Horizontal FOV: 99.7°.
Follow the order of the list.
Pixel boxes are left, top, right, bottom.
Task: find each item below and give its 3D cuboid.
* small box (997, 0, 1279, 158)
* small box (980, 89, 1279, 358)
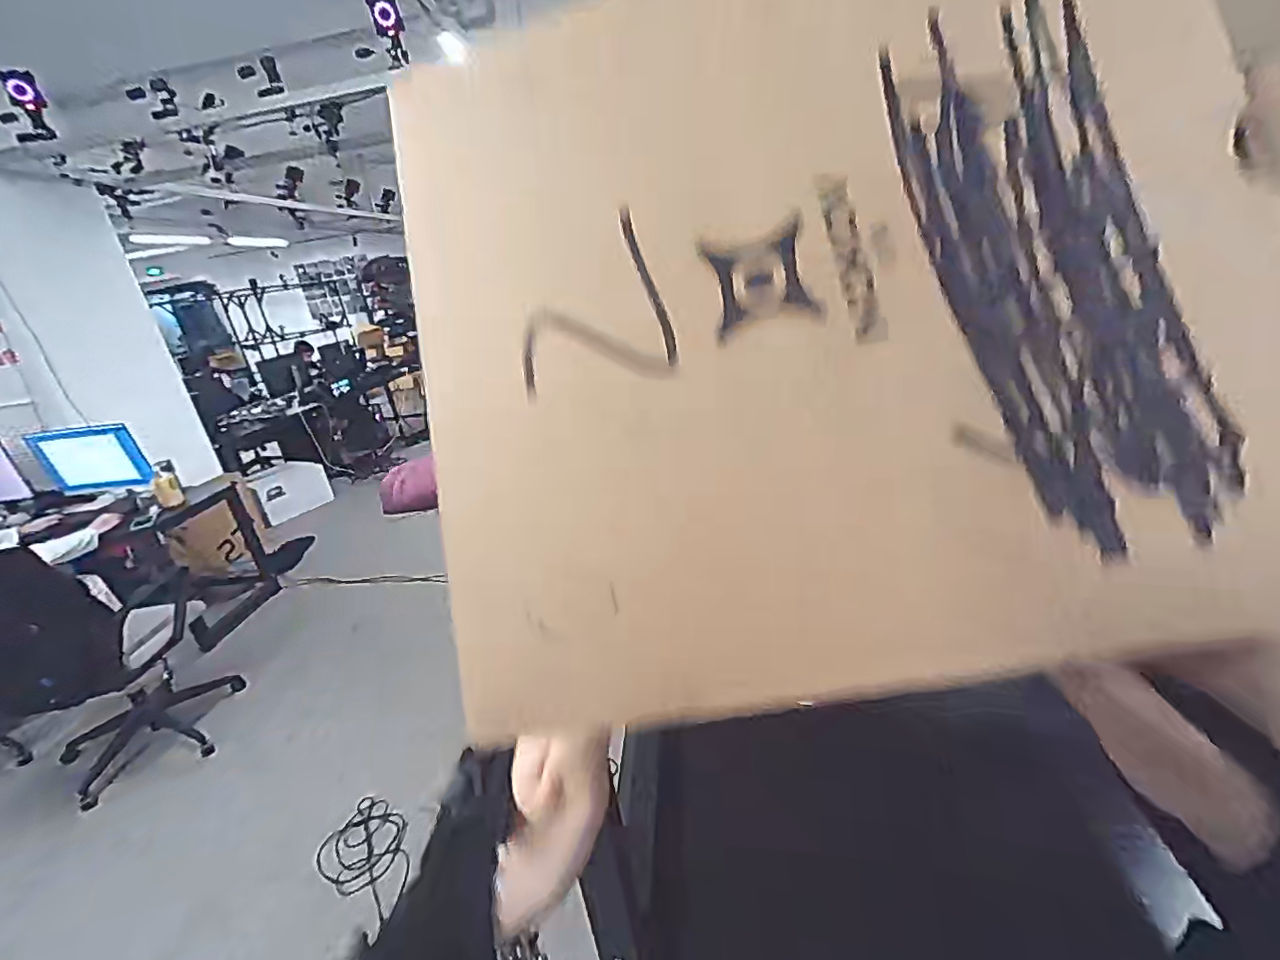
[{"bbox_3d":[0.398,-0.354,0.397,0.168,0.176,0.179,-4,20,5],"label":"small box"},{"bbox_3d":[0.414,-0.203,0.455,0.179,0.176,0.168,-5,21,8],"label":"small box"}]
